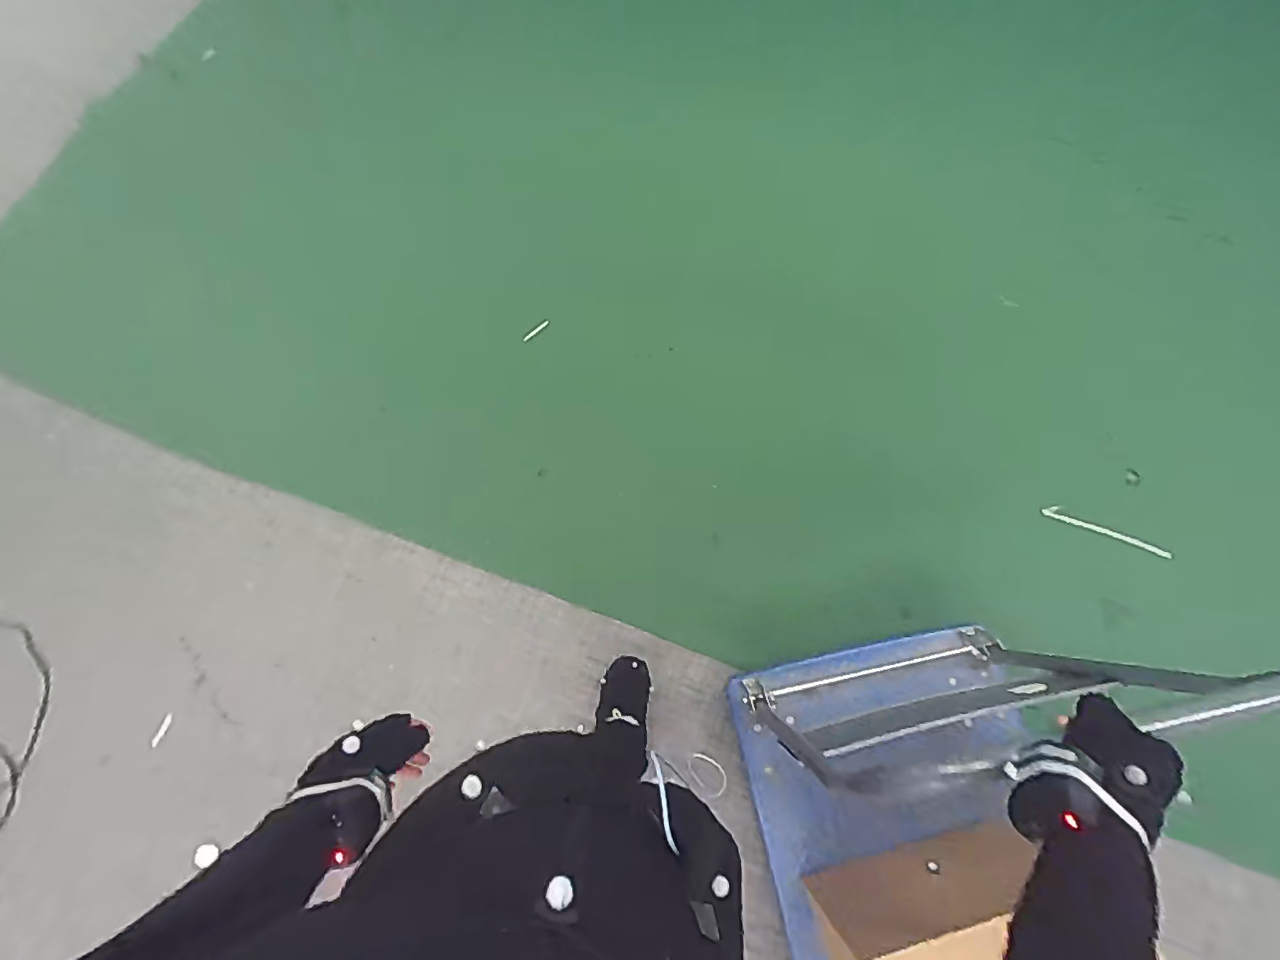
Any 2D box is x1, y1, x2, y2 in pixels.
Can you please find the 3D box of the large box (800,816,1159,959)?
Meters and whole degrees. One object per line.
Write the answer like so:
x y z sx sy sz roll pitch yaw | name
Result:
0.528 0.794 0.851 0.408 0.320 0.320 -15 73 -5 | large box
